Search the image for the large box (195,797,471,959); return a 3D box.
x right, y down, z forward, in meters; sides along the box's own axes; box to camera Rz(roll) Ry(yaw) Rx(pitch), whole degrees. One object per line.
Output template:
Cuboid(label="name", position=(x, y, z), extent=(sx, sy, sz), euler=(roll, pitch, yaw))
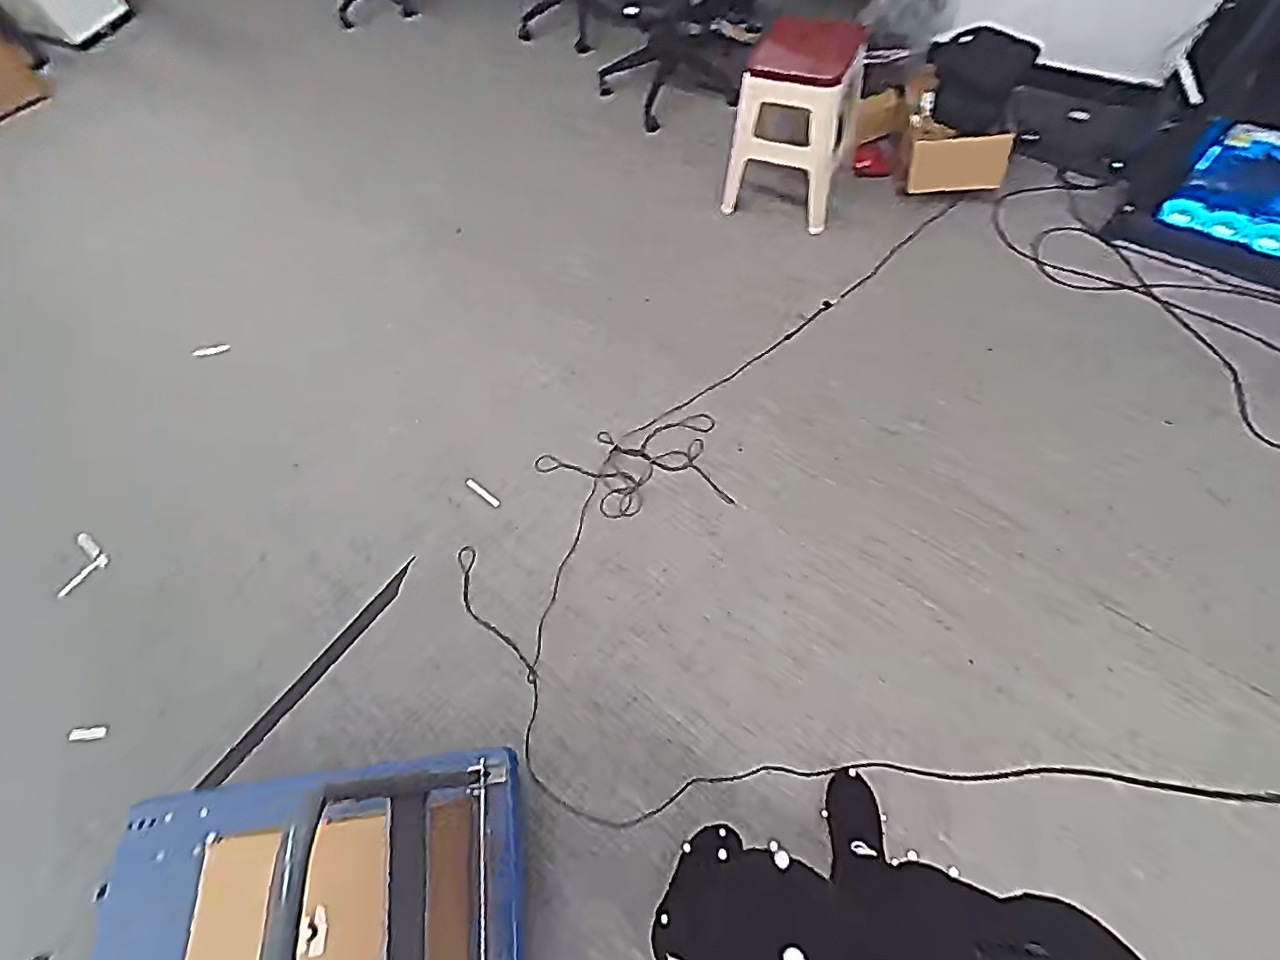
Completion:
Cuboid(label="large box", position=(-0.491, 0.794, 0.912), extent=(0.320, 0.320, 0.408), euler=(-9, 63, 2))
